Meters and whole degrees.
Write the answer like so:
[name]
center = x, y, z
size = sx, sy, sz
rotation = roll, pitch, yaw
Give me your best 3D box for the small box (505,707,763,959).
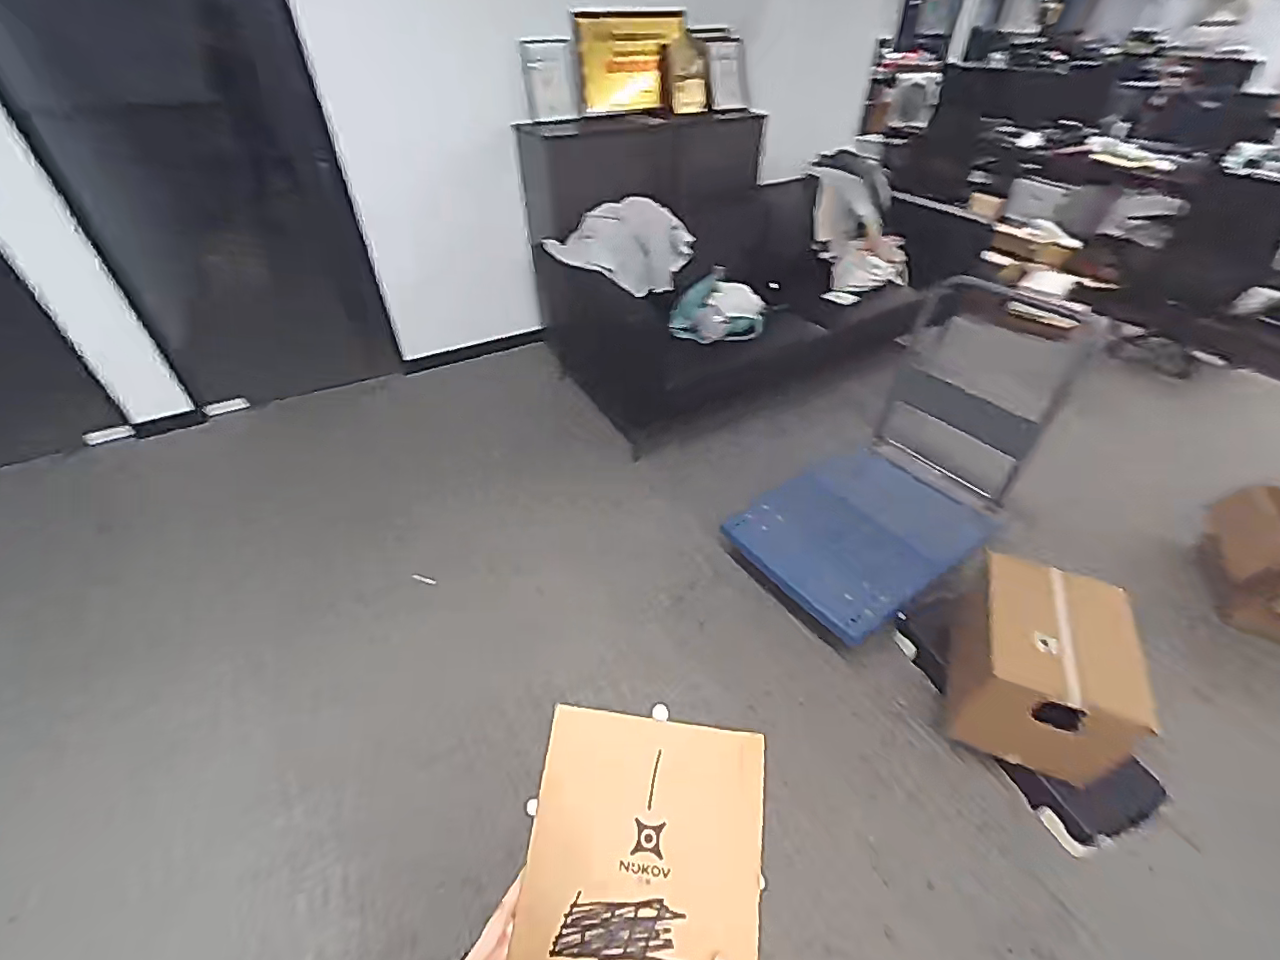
[small box]
center = 0.000, 0.298, 0.451
size = 0.168, 0.176, 0.179
rotation = 8, 64, 1
